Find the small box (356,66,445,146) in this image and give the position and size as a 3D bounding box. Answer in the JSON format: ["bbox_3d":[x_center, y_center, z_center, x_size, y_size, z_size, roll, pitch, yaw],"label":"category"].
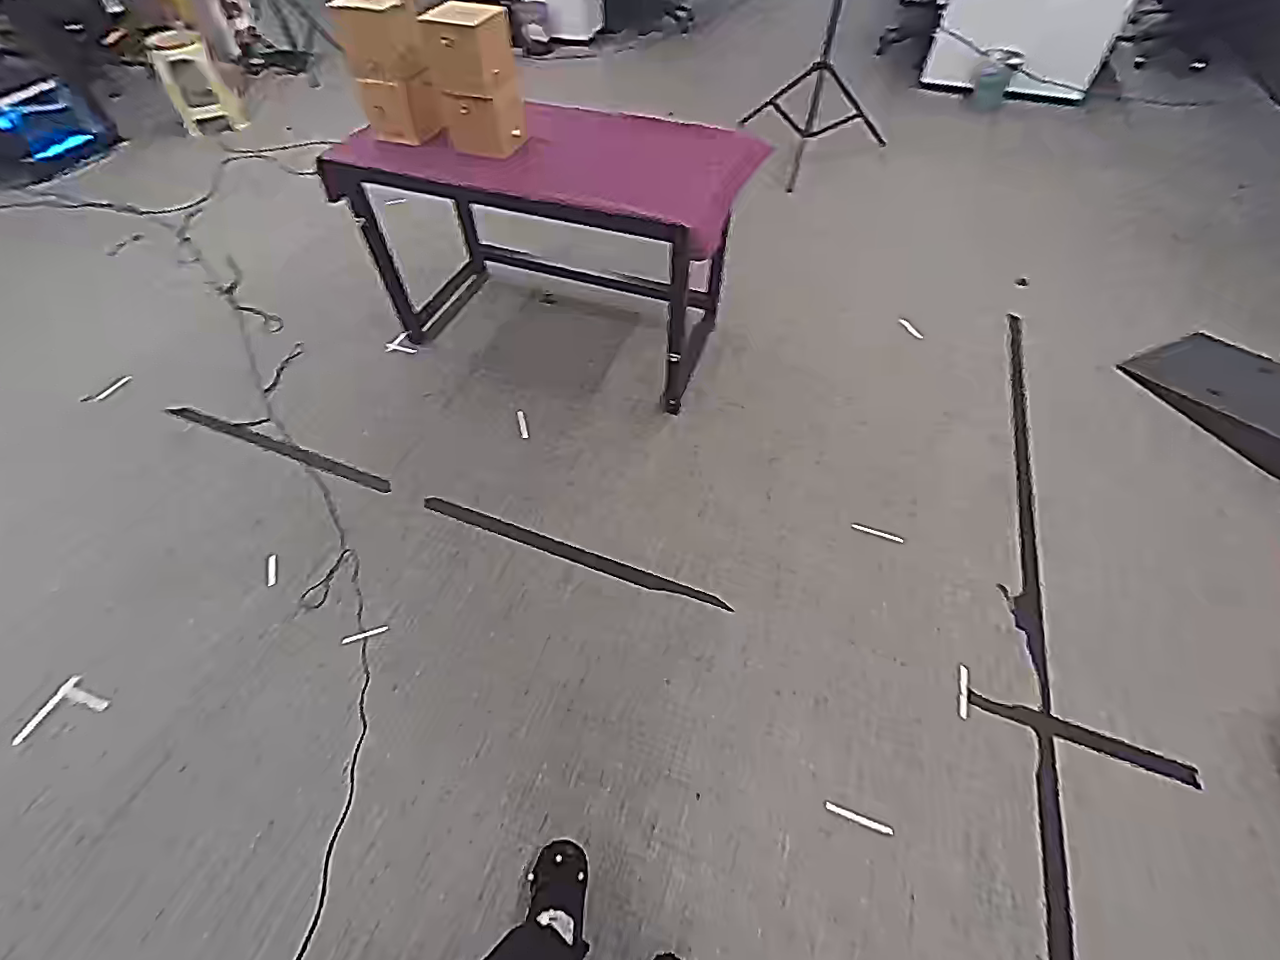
[{"bbox_3d":[-0.739,-1.178,1.698,0.168,0.176,0.179,14,54,10],"label":"small box"}]

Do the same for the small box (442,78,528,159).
[{"bbox_3d":[-0.461,-1.101,1.637,0.179,0.176,0.168,15,55,10],"label":"small box"}]

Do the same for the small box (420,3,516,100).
[{"bbox_3d":[-0.468,-1.186,1.500,0.179,0.176,0.168,18,57,11],"label":"small box"}]

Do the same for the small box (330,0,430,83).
[{"bbox_3d":[-0.743,-1.283,1.571,0.179,0.176,0.168,13,54,9],"label":"small box"}]
